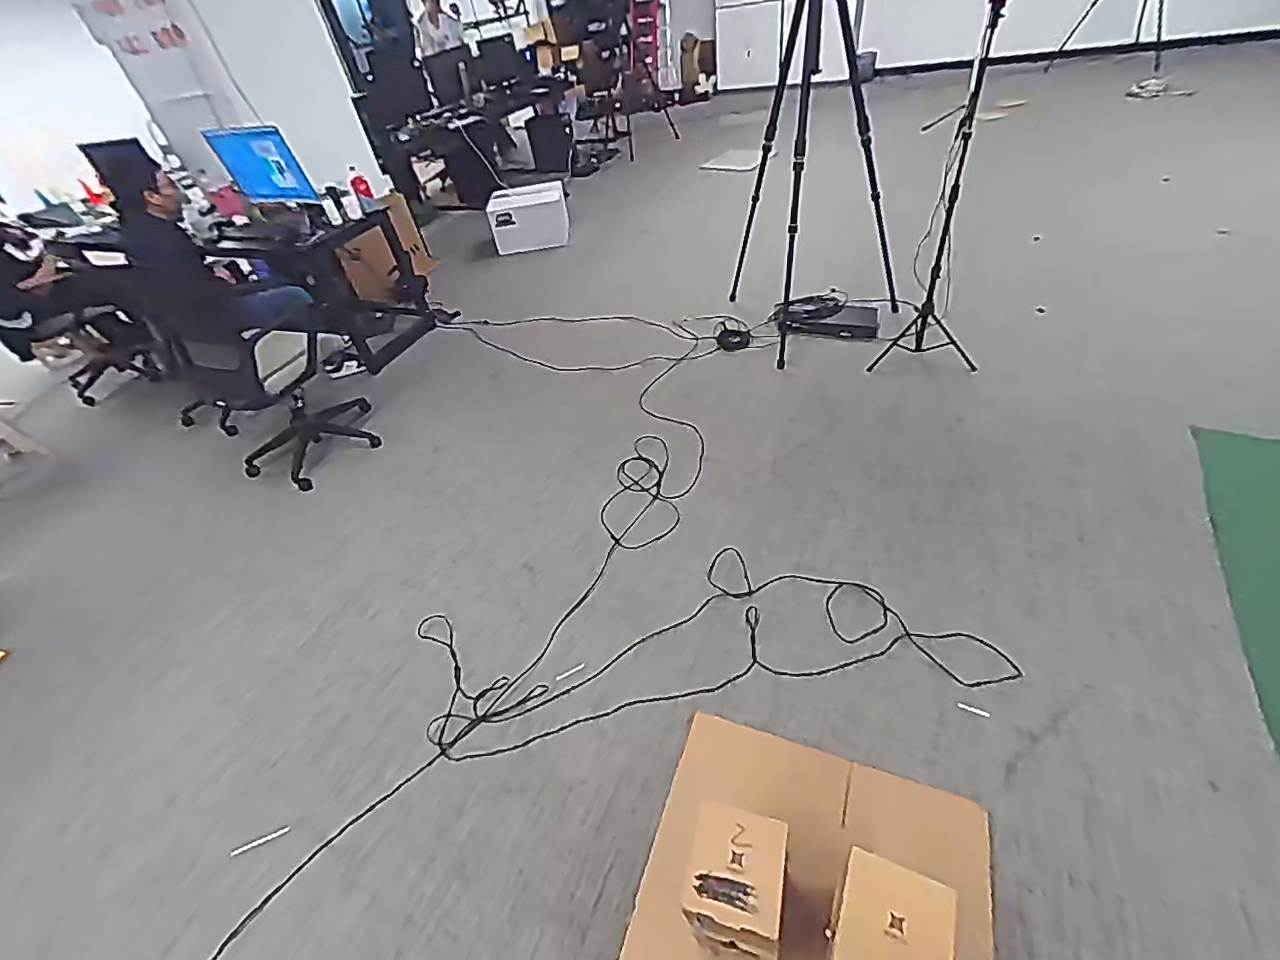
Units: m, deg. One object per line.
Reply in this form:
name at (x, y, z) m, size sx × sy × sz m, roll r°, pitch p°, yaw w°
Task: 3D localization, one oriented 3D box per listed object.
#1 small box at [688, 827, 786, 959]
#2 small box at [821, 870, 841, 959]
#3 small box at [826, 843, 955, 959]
small box at (0.205, 0.853, 1.106) m, size 0.168 × 0.176 × 0.179 m, roll 6°, pitch 46°, yaw 19°
small box at (0.439, 0.887, 1.023) m, size 0.168 × 0.176 × 0.179 m, roll 9°, pitch 47°, yaw 23°
small box at (0.418, 0.766, 0.916) m, size 0.168 × 0.176 × 0.179 m, roll 12°, pitch 48°, yaw 24°
